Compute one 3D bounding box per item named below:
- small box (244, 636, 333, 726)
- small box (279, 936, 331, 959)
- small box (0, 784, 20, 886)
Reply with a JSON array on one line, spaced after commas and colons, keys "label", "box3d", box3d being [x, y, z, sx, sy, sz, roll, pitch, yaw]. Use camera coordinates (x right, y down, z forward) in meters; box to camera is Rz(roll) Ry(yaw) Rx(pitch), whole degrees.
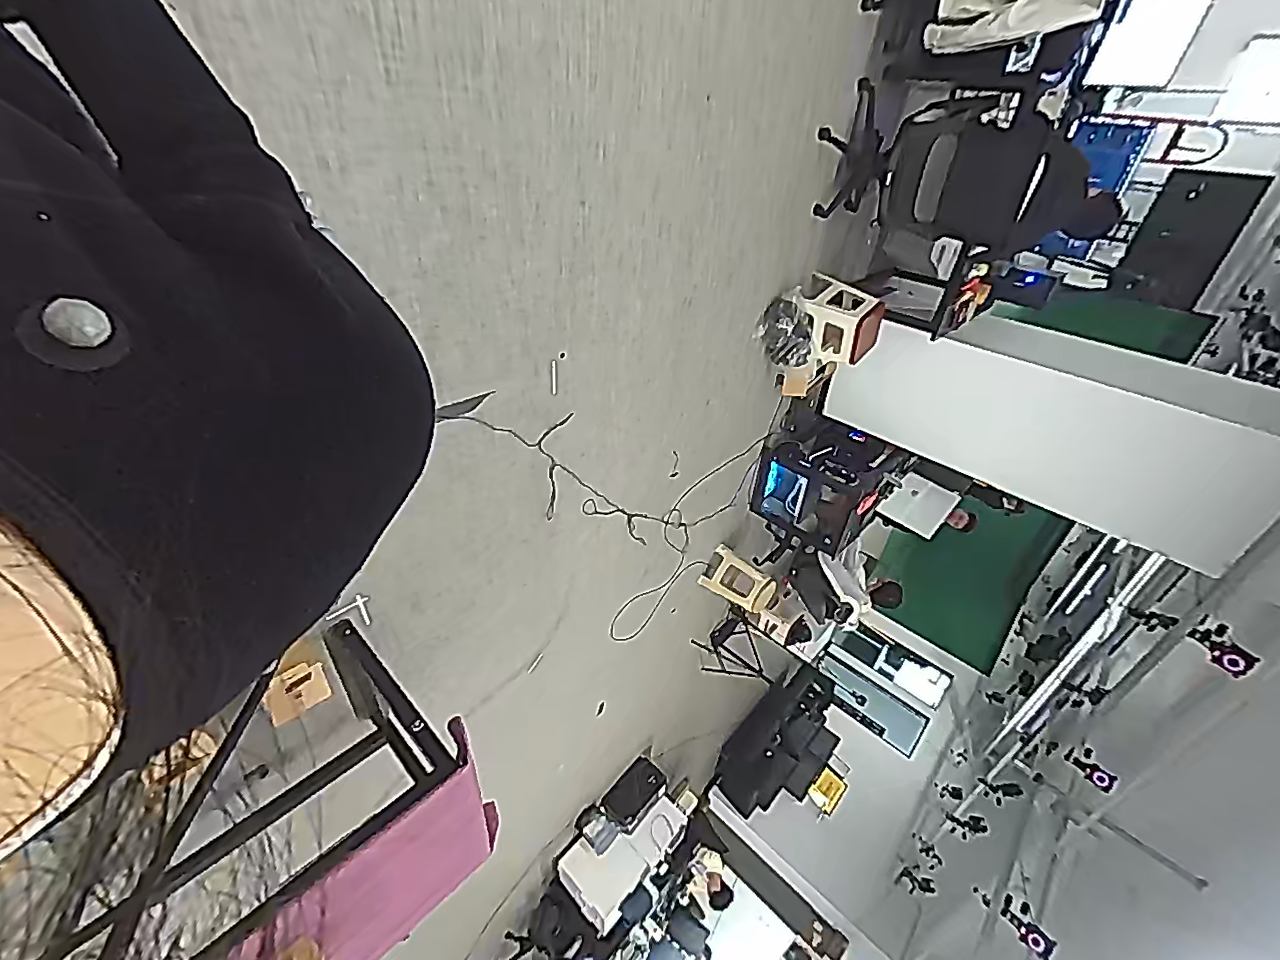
[{"label": "small box", "box3d": [-1.097, 0.616, 1.686, 0.168, 0.176, 0.179, -29, 138, -40]}, {"label": "small box", "box3d": [-0.777, 1.191, 1.222, 0.168, 0.176, 0.179, -28, 139, -39]}, {"label": "small box", "box3d": [-1.563, 0.844, 1.228, 0.179, 0.176, 0.168, -13, 125, -51]}]
